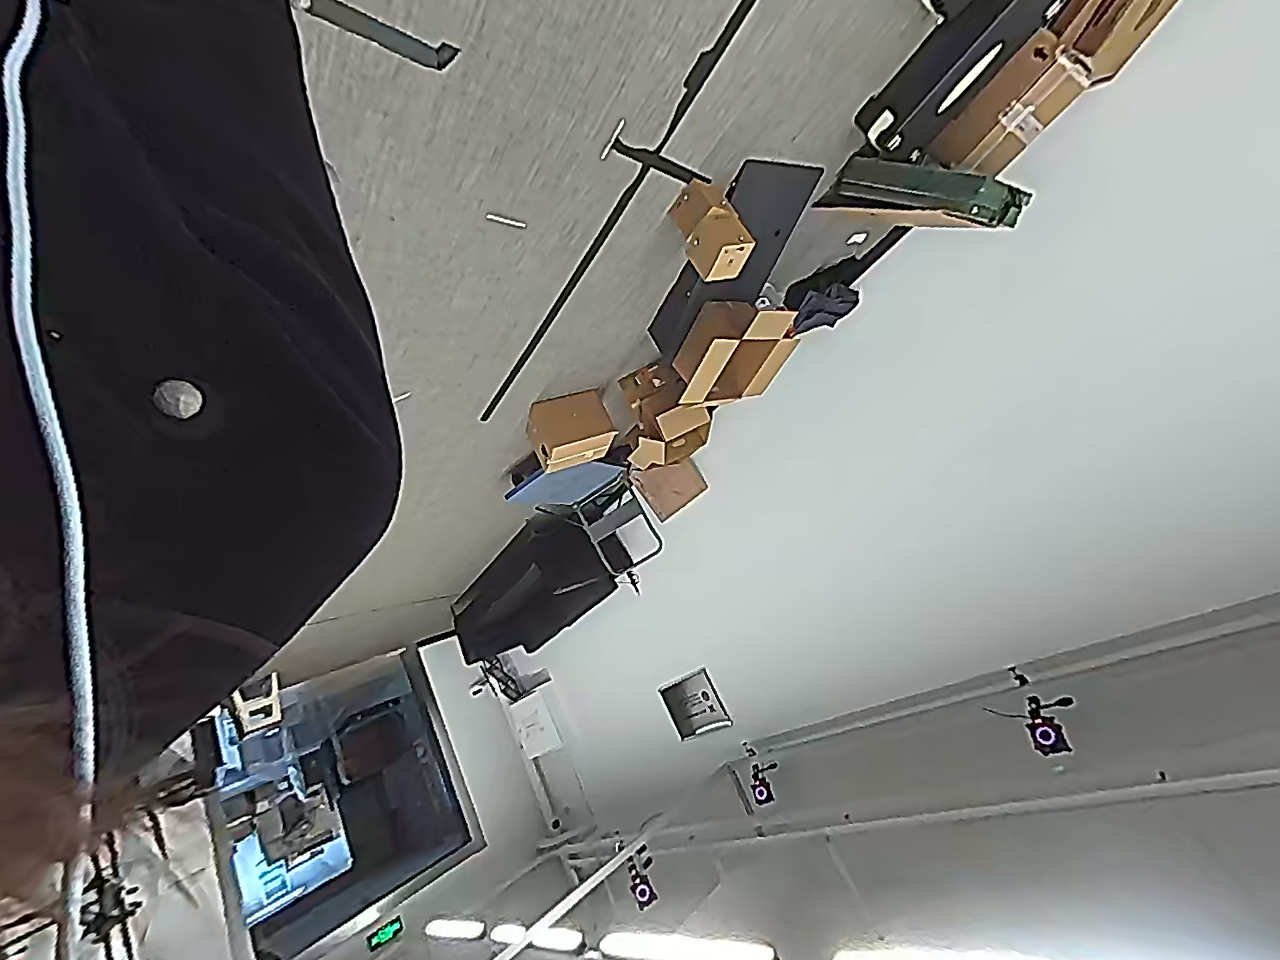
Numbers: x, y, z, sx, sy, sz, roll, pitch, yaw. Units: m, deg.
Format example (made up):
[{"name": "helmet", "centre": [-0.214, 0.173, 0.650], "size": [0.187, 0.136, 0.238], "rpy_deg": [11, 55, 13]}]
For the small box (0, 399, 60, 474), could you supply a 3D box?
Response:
[{"name": "small box", "centre": [-1.909, -0.133, 1.645], "size": [0.168, 0.176, 0.179], "rpy_deg": [-39, 161, 33]}]
